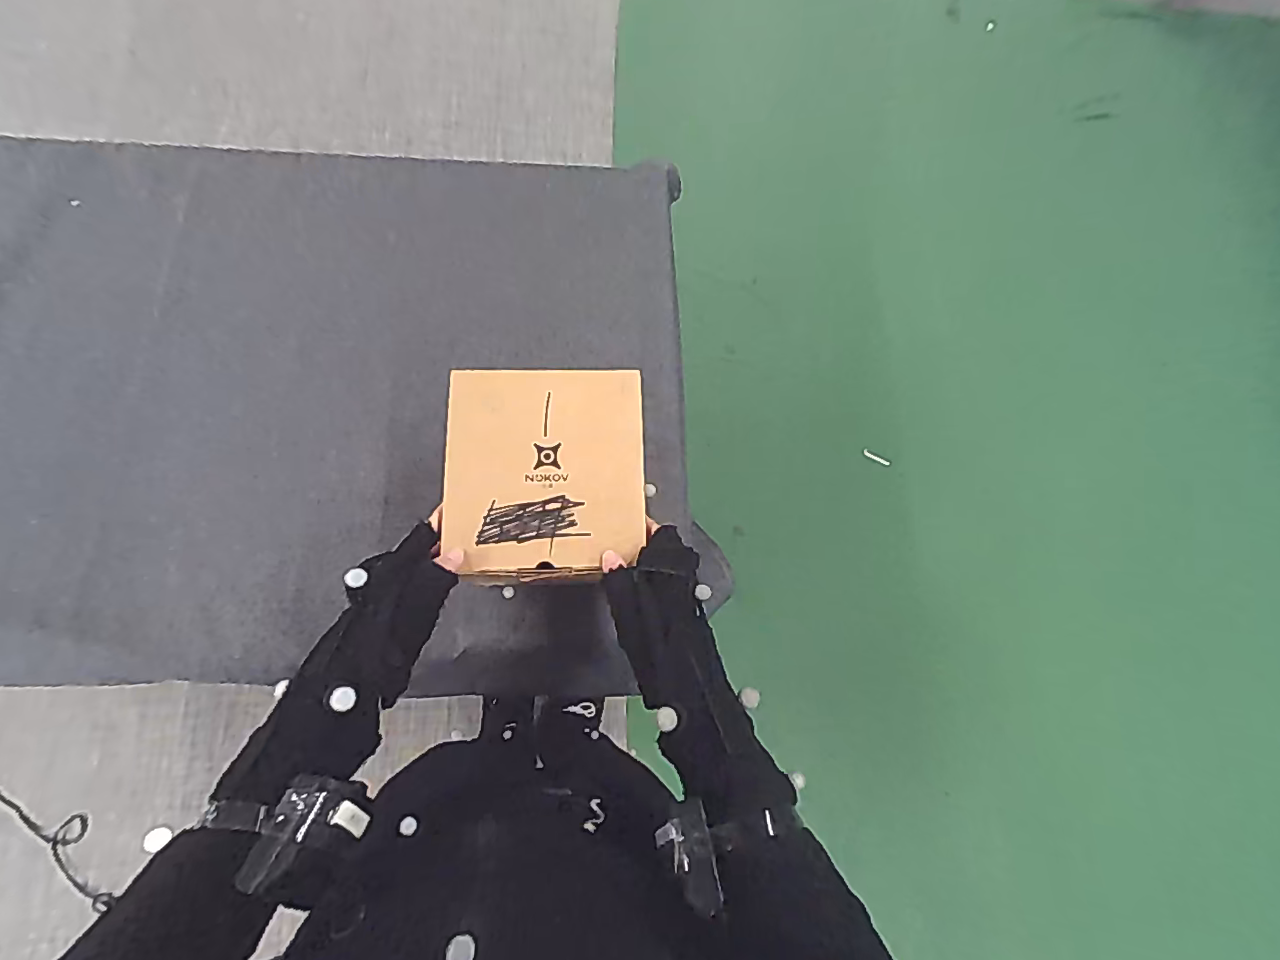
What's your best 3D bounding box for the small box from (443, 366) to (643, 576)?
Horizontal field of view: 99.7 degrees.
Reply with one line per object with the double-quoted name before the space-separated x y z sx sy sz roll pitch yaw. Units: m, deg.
"small box" -0.083 0.003 0.533 0.168 0.176 0.179 -1 76 -4
